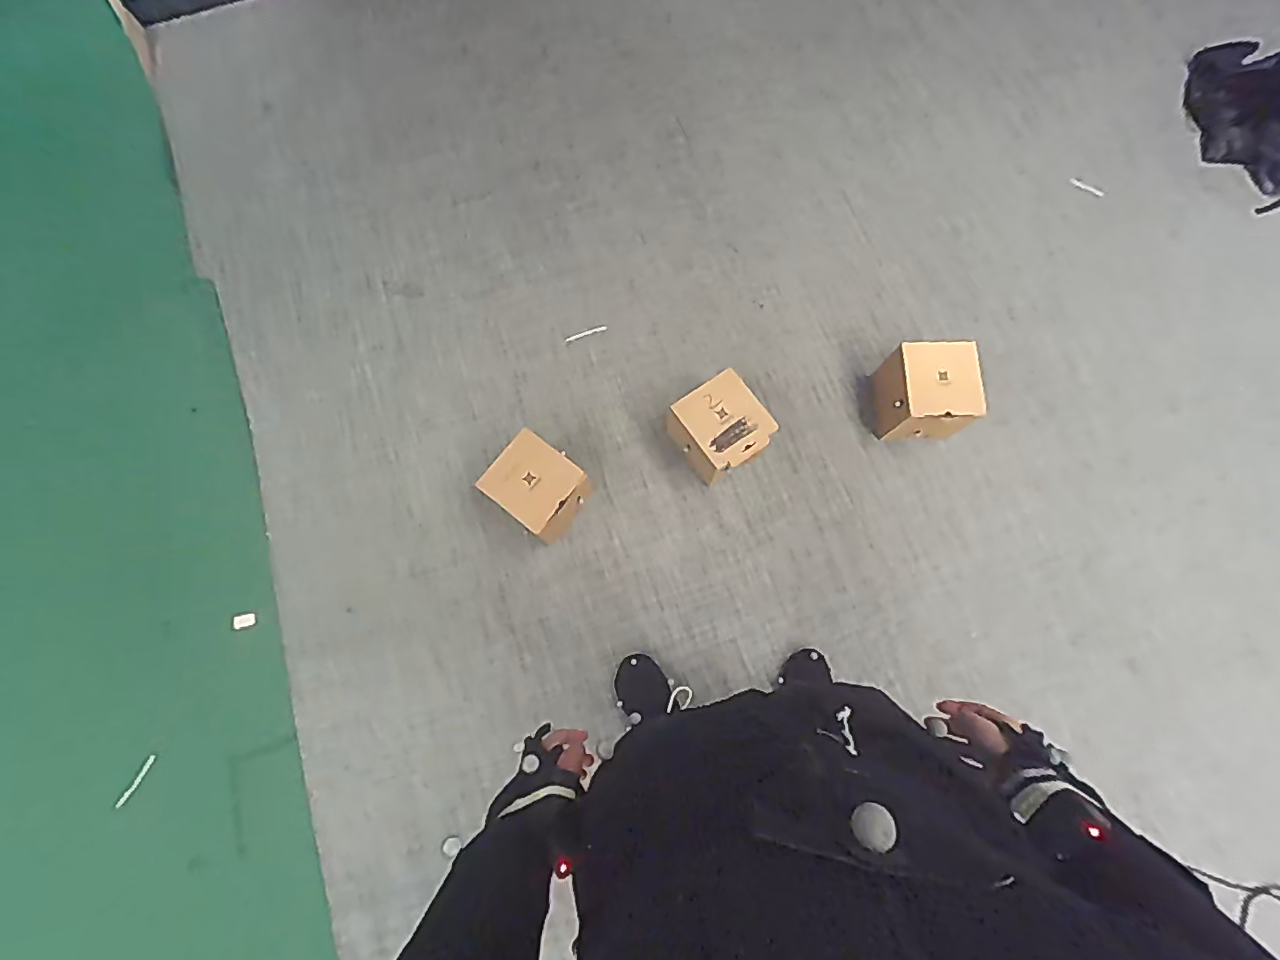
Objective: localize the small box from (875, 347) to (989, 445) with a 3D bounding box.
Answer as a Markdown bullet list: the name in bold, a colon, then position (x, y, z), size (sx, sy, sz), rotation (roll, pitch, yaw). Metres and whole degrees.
- **small box**: position (0.659, -0.189, 1.244), size (0.168, 0.176, 0.179), rotation (-1, 76, 0)

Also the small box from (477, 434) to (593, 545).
- **small box**: position (-0.221, 0.030, 1.200), size (0.179, 0.176, 0.168), rotation (36, 78, 10)
